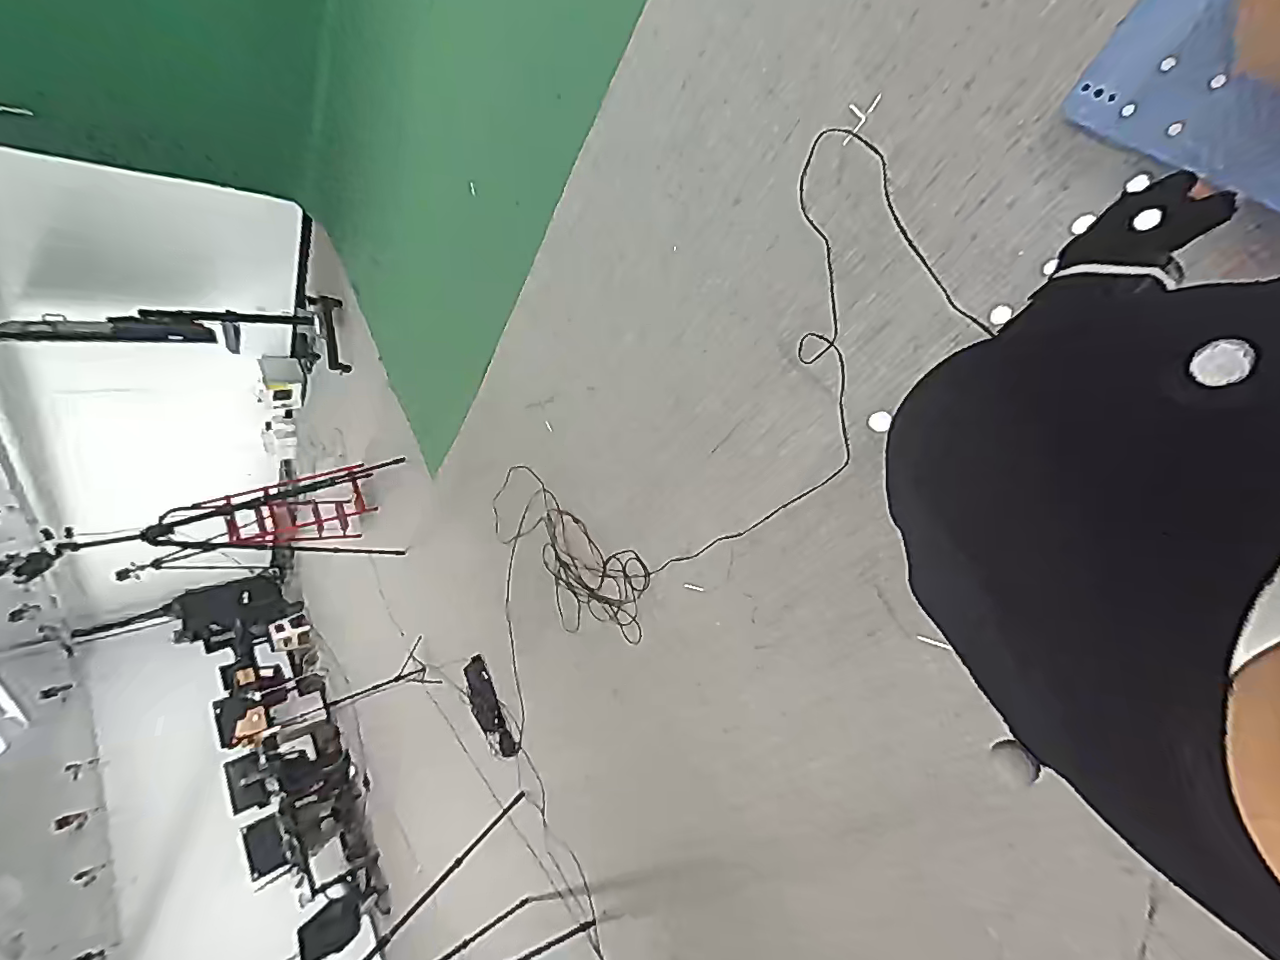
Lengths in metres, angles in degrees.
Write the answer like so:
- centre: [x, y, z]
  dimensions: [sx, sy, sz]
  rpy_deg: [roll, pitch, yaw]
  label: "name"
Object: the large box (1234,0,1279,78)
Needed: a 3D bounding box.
- centre: [0.977, -0.666, 0.560]
  dimensions: [0.320, 0.320, 0.408]
  rpy_deg: [50, 131, 28]
  label: "large box"
